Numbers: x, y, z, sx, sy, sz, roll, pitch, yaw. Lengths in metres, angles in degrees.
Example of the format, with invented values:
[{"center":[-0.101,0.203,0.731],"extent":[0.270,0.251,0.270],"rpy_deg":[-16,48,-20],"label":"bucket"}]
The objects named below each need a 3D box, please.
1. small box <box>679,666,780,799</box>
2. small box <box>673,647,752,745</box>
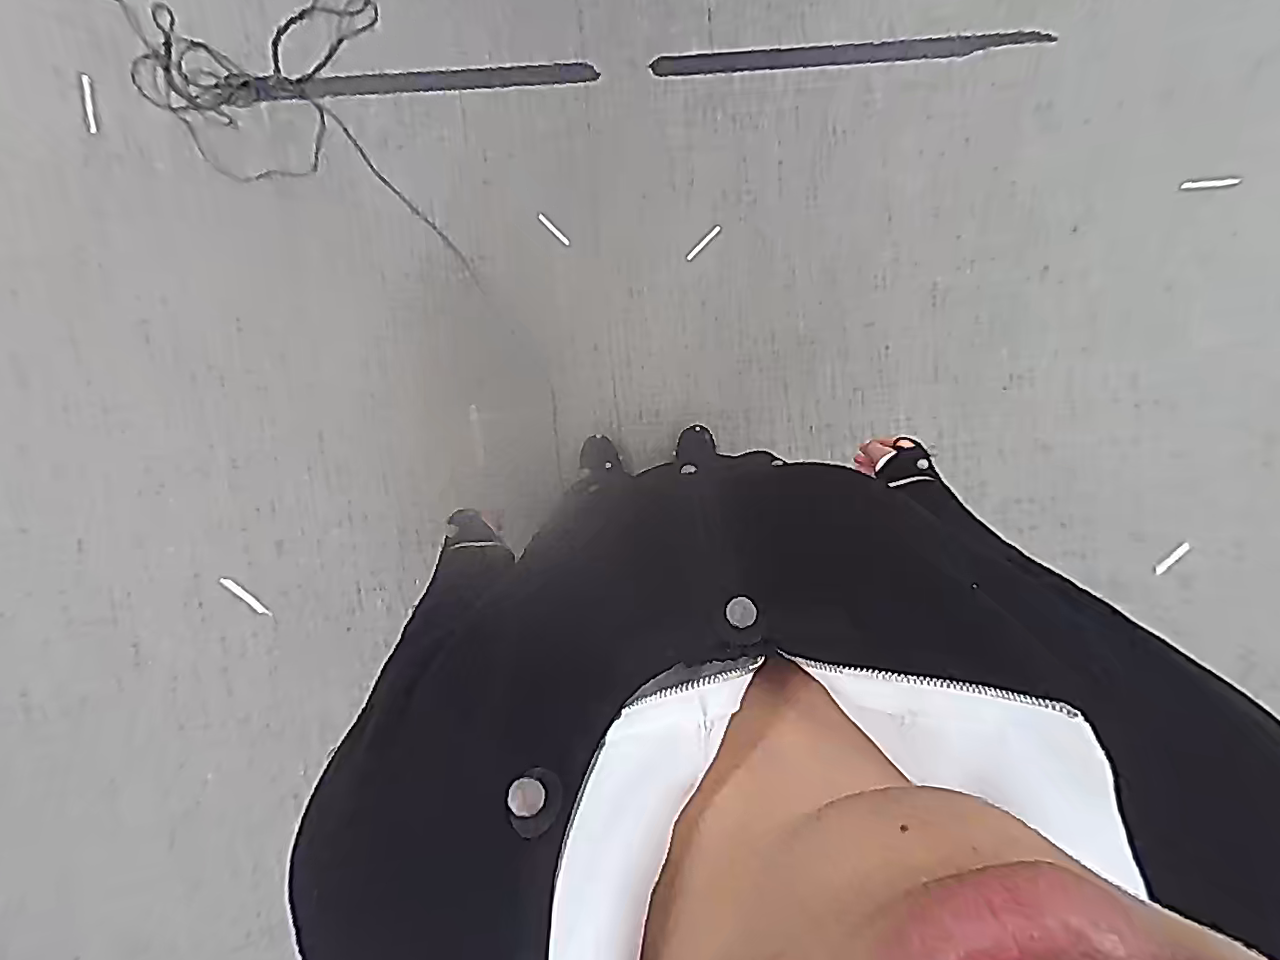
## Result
[{"center":[0.175,0.504,1.097],"extent":[0.168,0.176,0.179],"rpy_deg":[-8,95,0],"label":"small box"},{"center":[0.170,0.484,1.260],"extent":[0.168,0.176,0.179],"rpy_deg":[-7,95,0],"label":"small box"}]
